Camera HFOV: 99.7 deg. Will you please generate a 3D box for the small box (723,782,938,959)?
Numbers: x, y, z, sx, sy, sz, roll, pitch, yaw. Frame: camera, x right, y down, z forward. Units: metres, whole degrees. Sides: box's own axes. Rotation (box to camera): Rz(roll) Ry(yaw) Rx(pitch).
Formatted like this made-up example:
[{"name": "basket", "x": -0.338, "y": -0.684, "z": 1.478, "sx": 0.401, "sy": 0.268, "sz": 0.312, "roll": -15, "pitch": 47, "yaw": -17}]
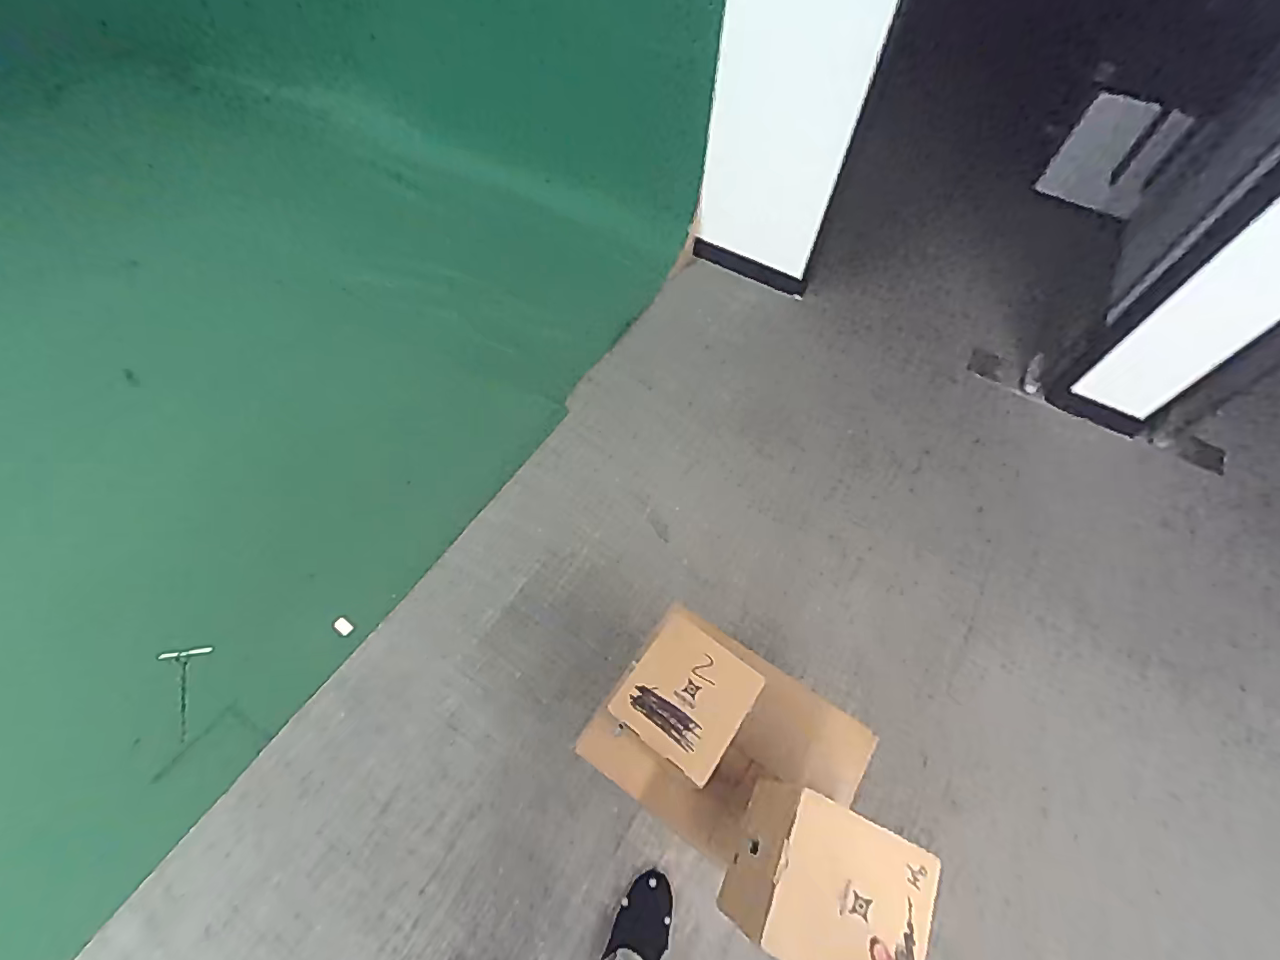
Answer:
[{"name": "small box", "x": 0.220, "y": 0.493, "z": 0.660, "sx": 0.179, "sy": 0.176, "sz": 0.168, "roll": 26, "pitch": 64, "yaw": 6}]
